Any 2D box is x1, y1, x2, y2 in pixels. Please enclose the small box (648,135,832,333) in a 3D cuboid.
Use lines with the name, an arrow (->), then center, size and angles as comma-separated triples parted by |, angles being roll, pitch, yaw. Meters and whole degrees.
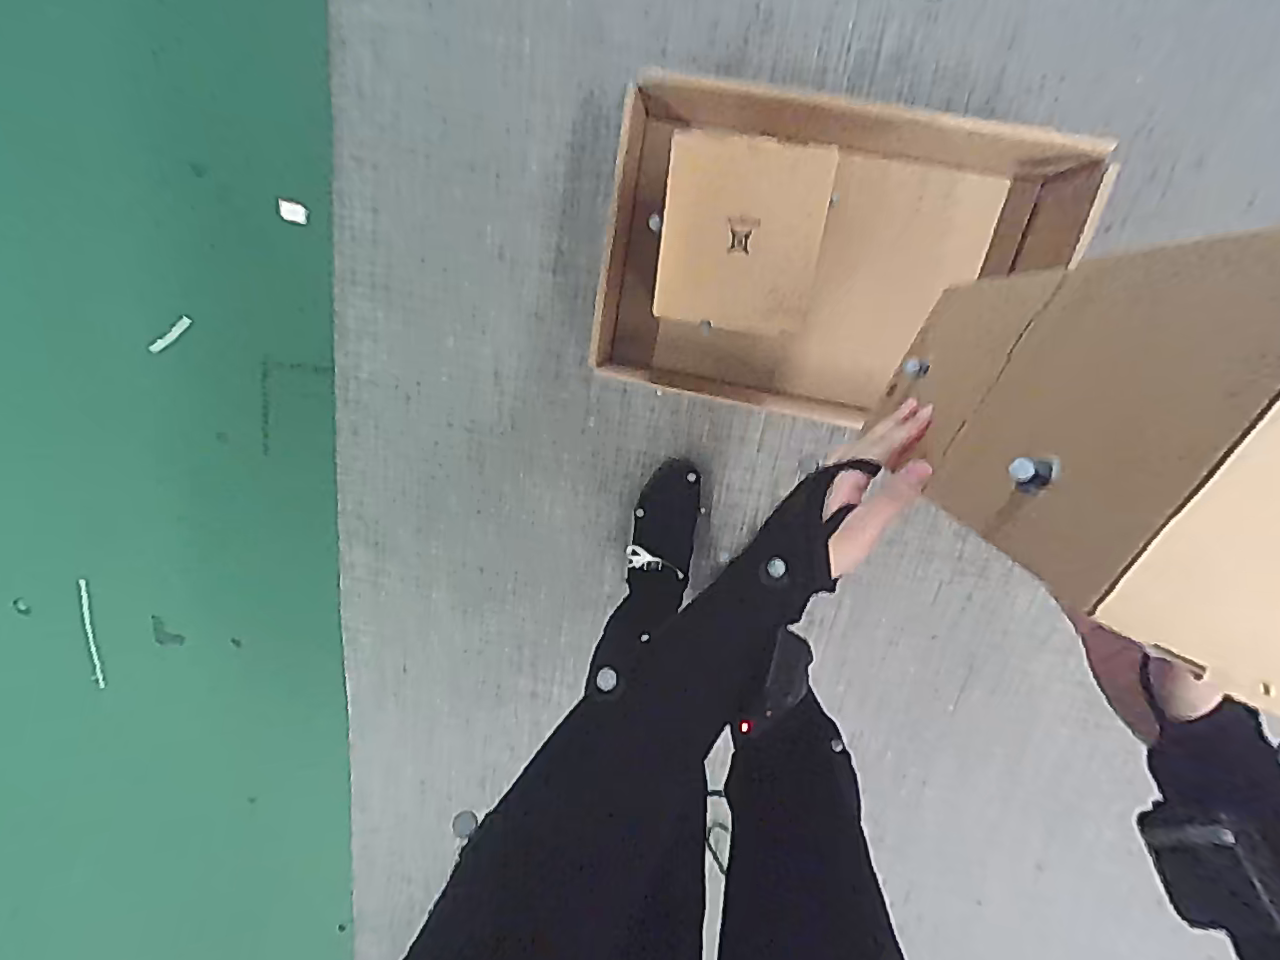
small box -> 0.107, -0.273, 0.631 | 0.168, 0.176, 0.179 | 7, 108, 4

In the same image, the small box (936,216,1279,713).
small box -> 0.294, -0.010, 0.285 | 0.168, 0.176, 0.179 | 25, 107, -3

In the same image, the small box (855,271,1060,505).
small box -> 0.311, -0.052, 0.442 | 0.179, 0.176, 0.168 | 25, 107, -1
